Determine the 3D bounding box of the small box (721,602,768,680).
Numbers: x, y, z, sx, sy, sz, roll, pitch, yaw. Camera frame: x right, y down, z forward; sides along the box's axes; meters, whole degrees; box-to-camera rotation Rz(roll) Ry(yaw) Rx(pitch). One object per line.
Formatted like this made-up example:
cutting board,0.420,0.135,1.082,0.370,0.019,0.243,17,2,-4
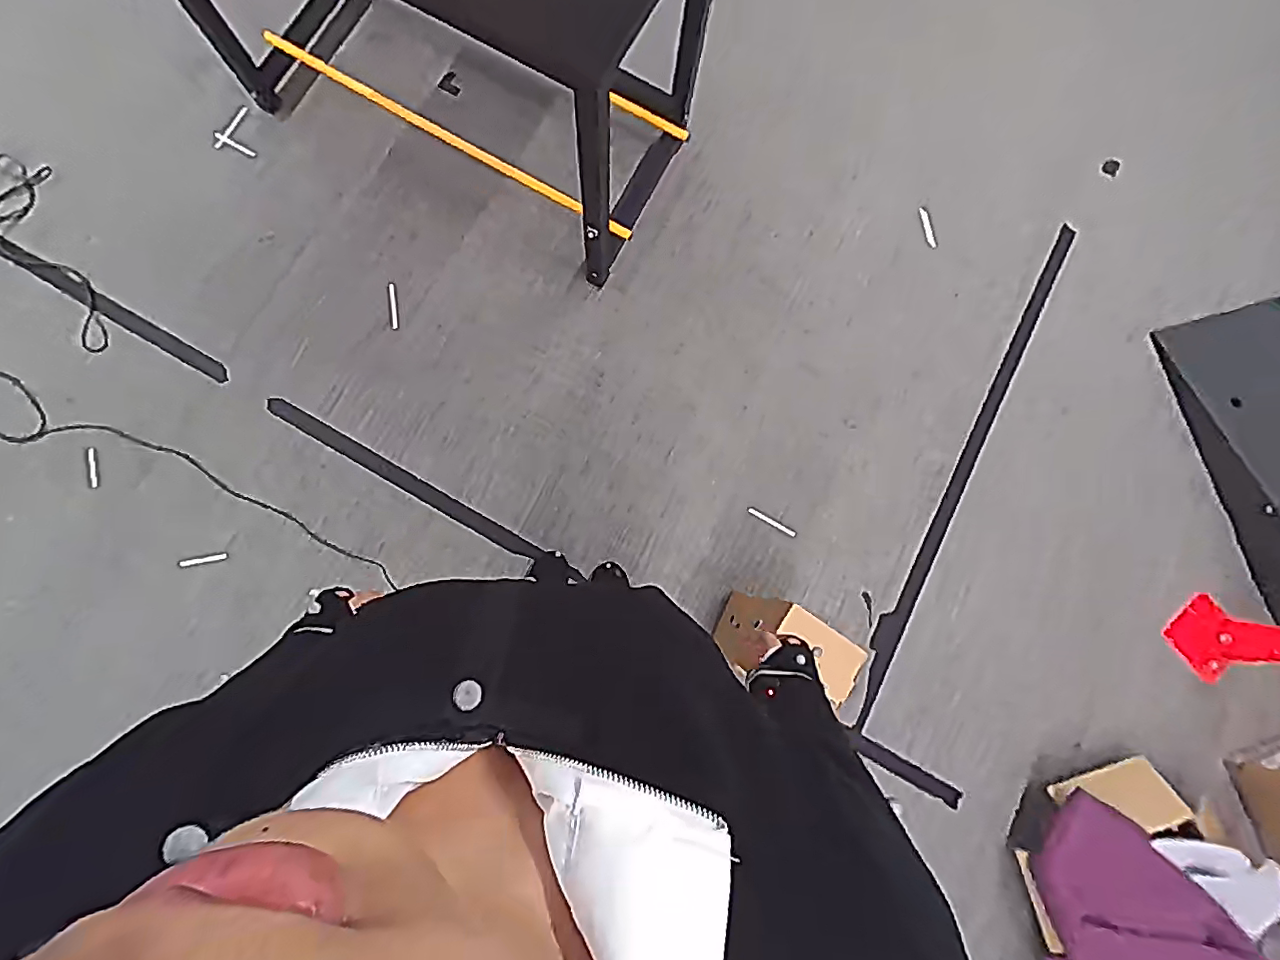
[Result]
small box,0.312,0.396,1.254,0.179,0.176,0.168,29,81,2

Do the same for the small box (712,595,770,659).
small box,0.304,0.415,1.417,0.168,0.176,0.179,26,81,1

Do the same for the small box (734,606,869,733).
small box,0.316,0.368,1.094,0.179,0.176,0.168,35,80,3
